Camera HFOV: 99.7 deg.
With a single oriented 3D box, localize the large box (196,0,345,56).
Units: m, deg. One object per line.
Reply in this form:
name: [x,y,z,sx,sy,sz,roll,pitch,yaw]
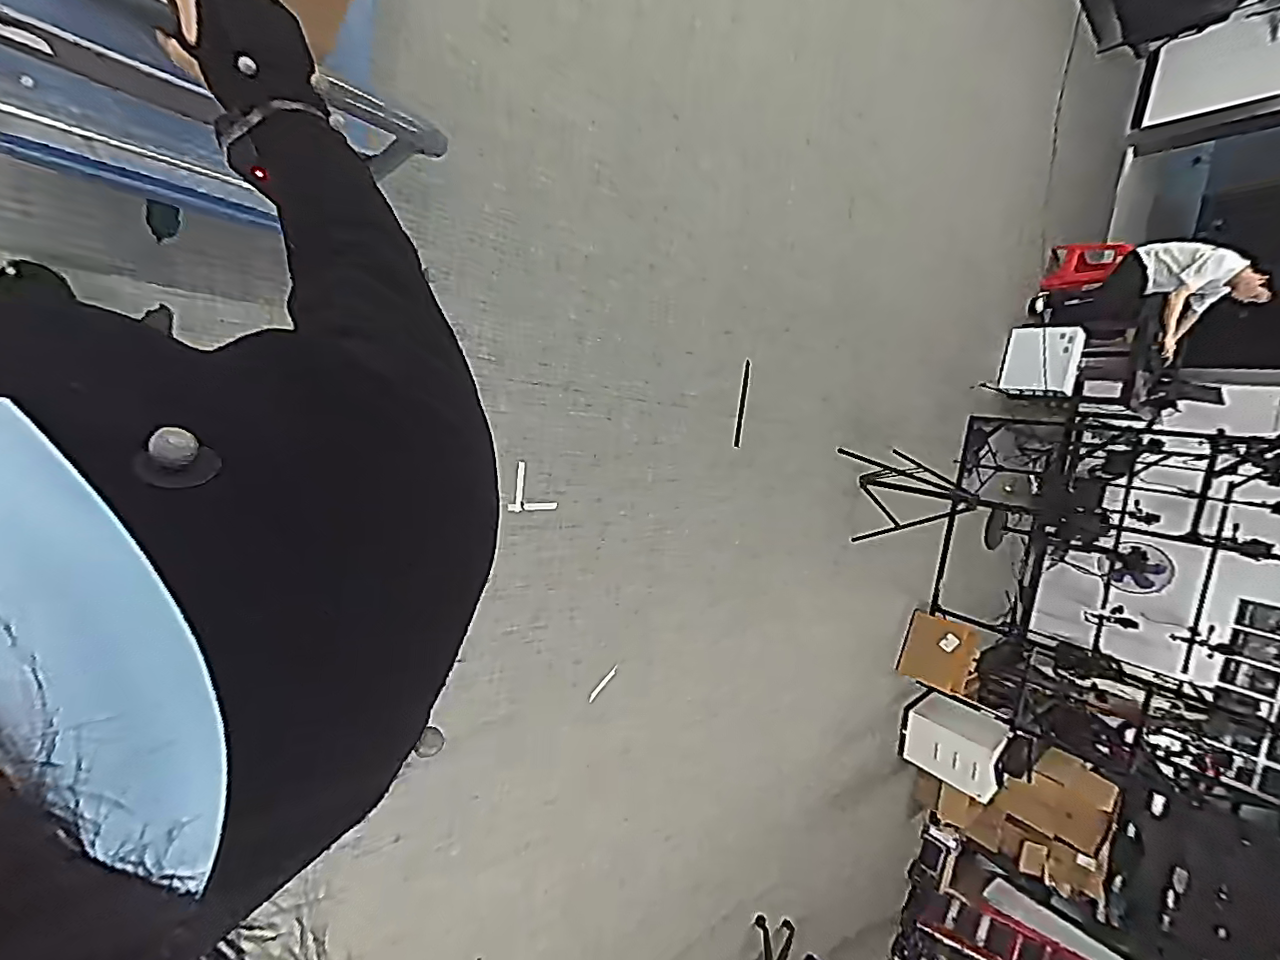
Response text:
large box: [-0.649,-0.934,0.779,0.408,0.320,0.320,5,96,-40]
